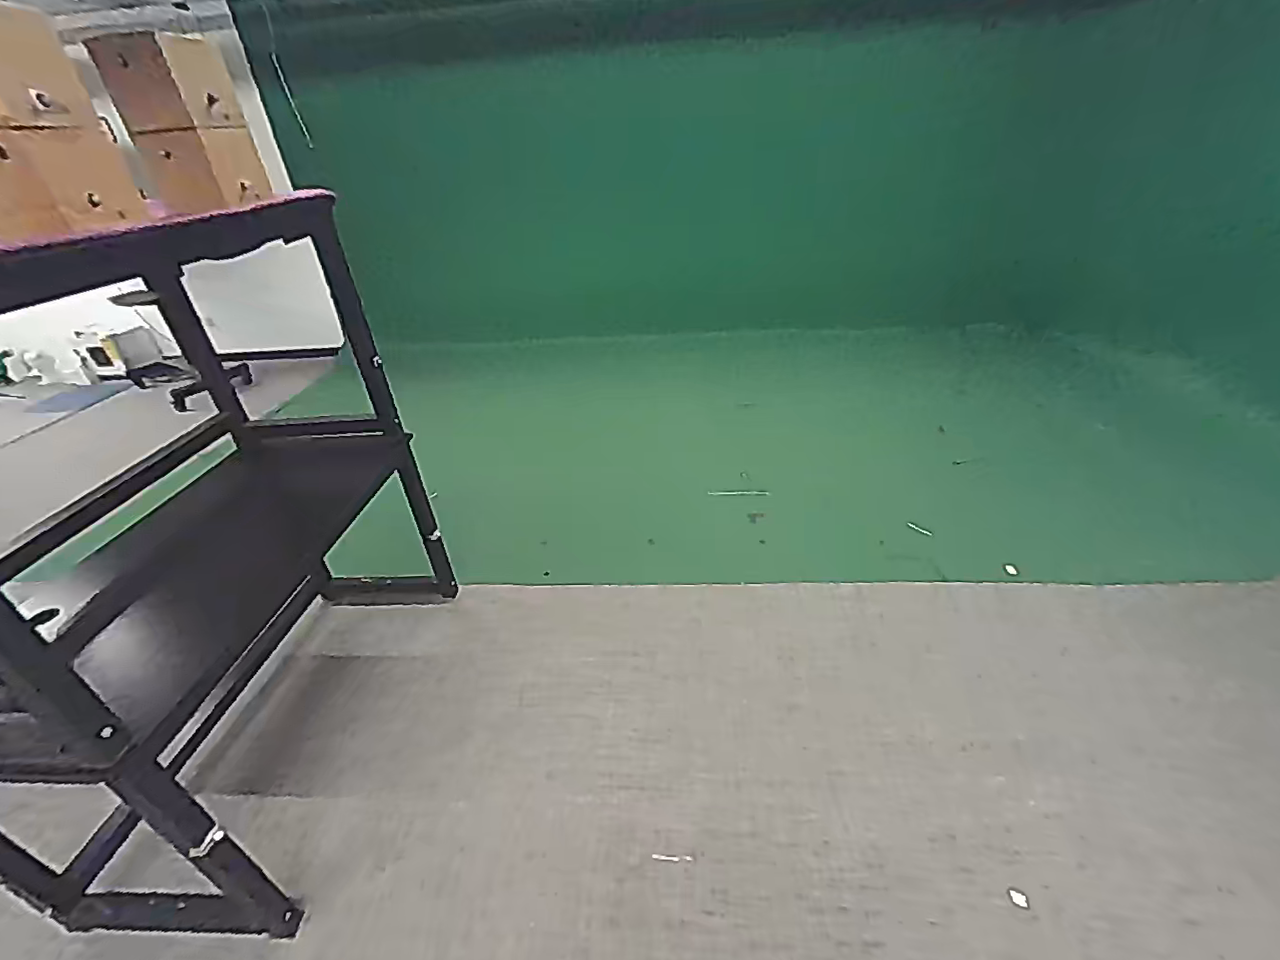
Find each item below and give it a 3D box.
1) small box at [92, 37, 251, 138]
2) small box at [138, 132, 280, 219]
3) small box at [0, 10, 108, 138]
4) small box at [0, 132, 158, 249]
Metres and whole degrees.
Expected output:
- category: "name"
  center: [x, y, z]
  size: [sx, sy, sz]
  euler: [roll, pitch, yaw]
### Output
- category: "small box"
  center: [-1.044, -0.875, 1.222]
  size: [0.179, 0.176, 0.168]
  euler: [1, 34, 9]
- category: "small box"
  center: [-1.031, -0.737, 1.310]
  size: [0.179, 0.176, 0.168]
  euler: [1, 33, 9]
- category: "small box"
  center: [-1.071, -0.660, 0.895]
  size: [0.179, 0.176, 0.168]
  euler: [-2, 34, 4]
- category: "small box"
  center: [-1.061, -0.527, 0.987]
  size: [0.179, 0.176, 0.168]
  euler: [0, 32, 9]
